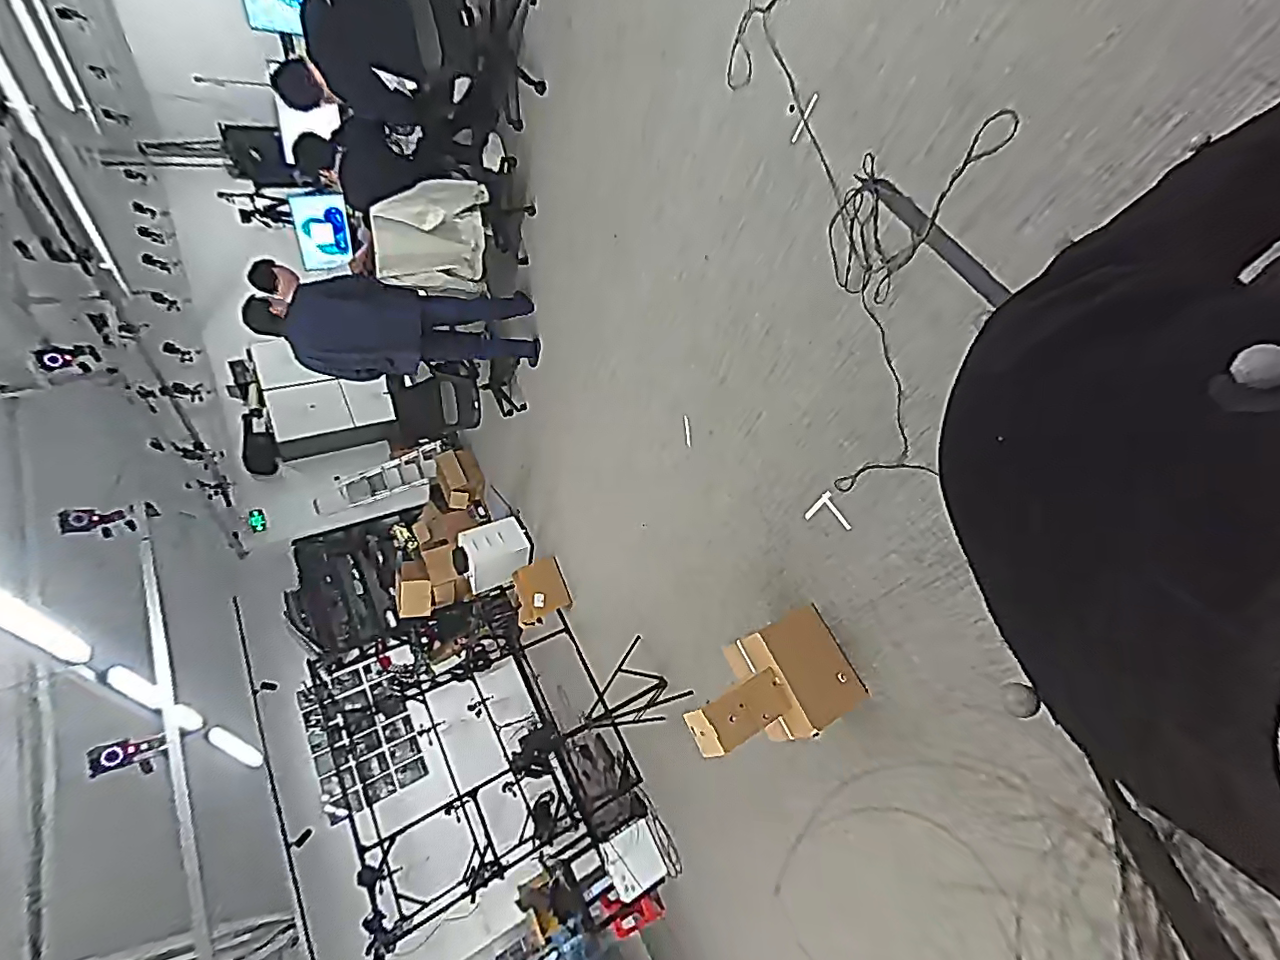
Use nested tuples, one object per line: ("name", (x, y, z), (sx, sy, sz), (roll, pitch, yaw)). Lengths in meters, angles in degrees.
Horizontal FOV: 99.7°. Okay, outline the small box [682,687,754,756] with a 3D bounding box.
("small box", (0.289, 0.879, 1.974), (0.168, 0.176, 0.179), (61, 148, 18))
